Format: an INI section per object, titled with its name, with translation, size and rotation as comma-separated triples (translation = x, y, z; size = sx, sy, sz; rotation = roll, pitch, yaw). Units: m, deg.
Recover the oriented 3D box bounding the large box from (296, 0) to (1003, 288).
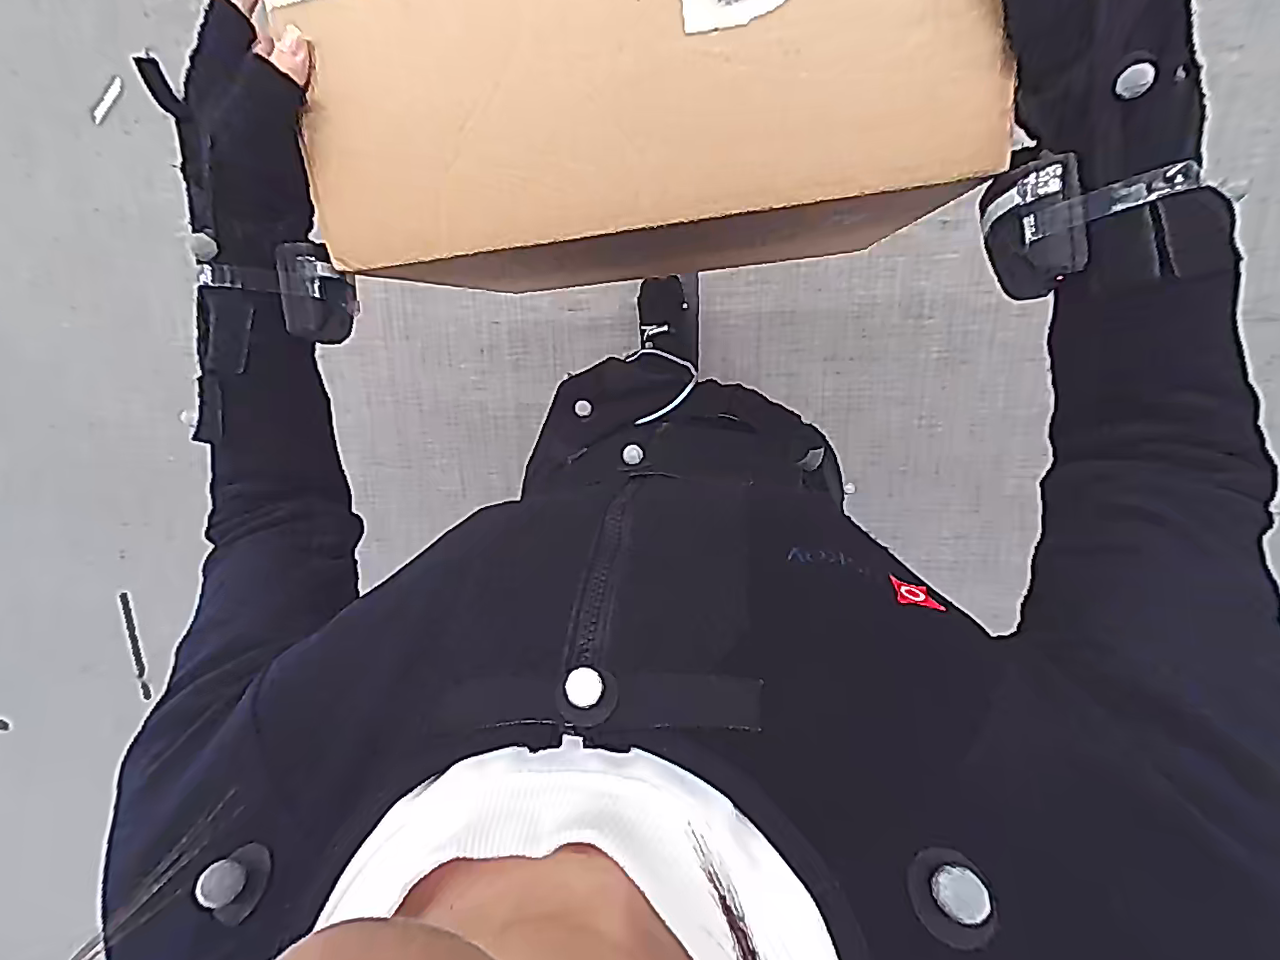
[large box]
translation = 0.005, -0.351, 0.435
size = 0.408, 0.320, 0.320
rotation = -4, 106, 10
